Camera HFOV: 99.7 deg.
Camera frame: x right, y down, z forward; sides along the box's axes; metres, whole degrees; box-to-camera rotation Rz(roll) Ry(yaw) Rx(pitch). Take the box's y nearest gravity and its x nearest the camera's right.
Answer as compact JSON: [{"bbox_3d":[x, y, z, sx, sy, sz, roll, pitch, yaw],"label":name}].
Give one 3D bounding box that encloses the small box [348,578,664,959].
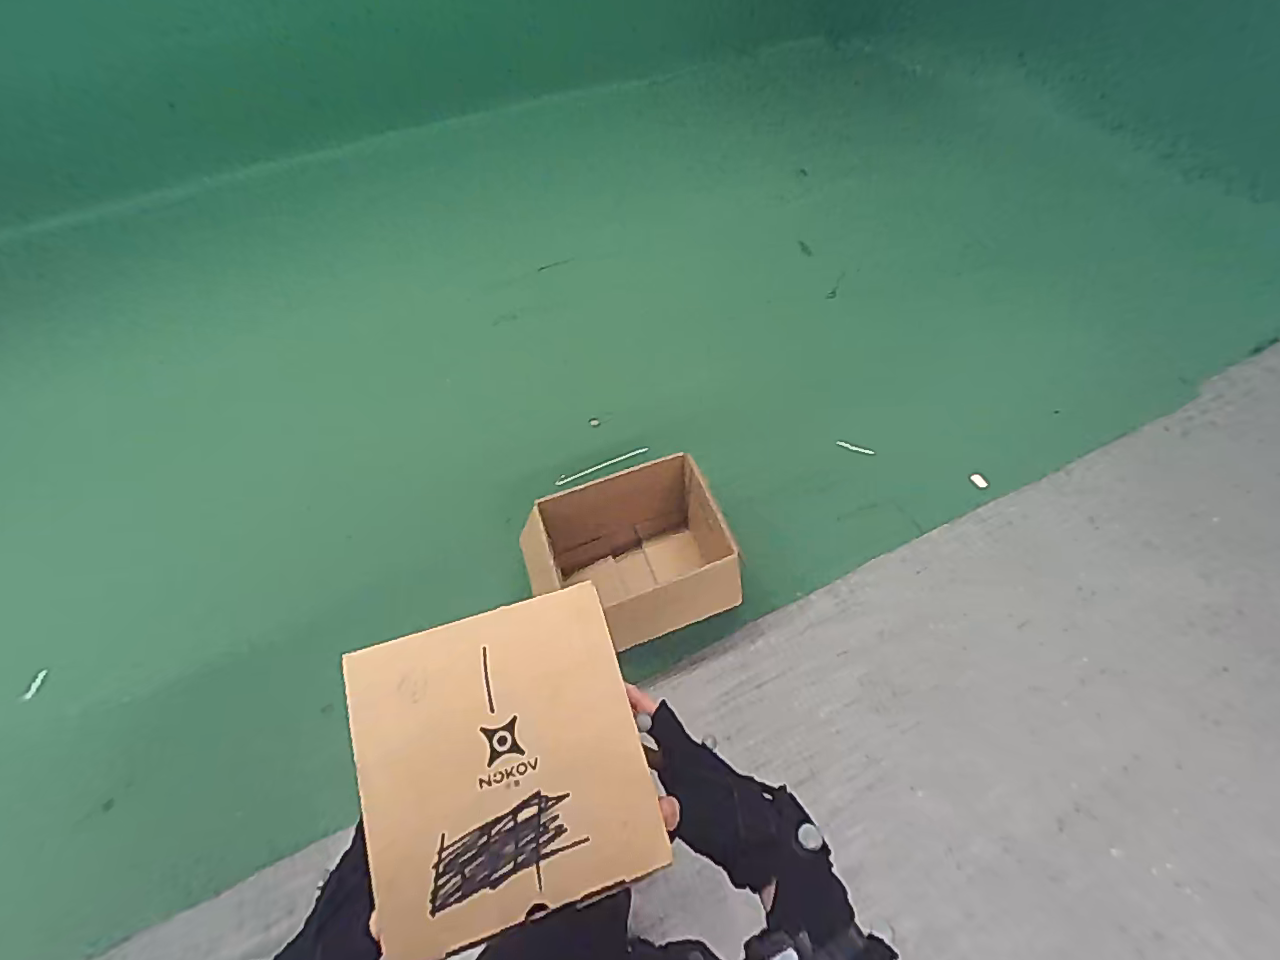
[{"bbox_3d":[-0.091,0.190,0.405,0.168,0.176,0.179,-14,71,-11],"label":"small box"}]
